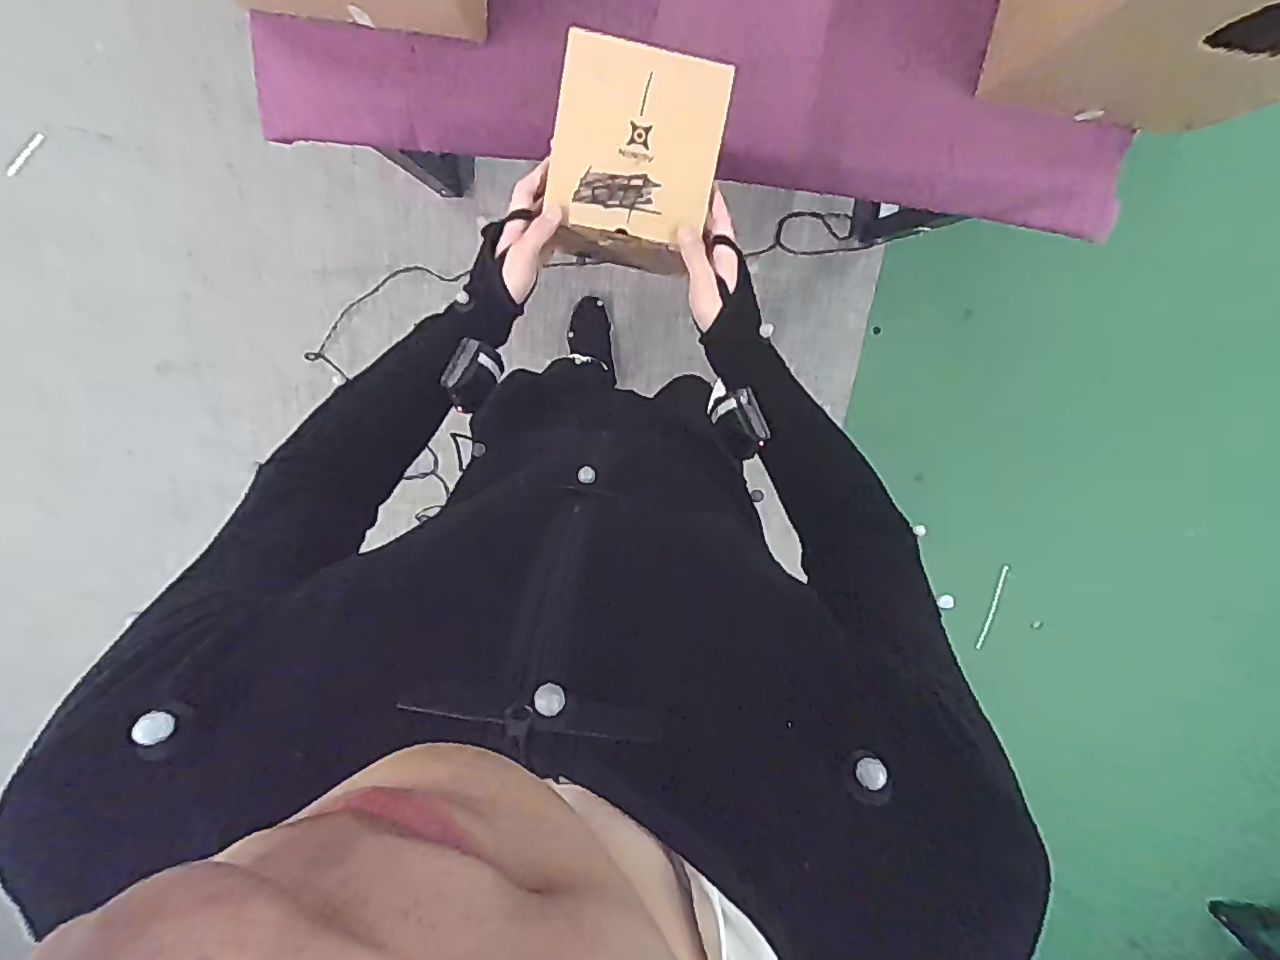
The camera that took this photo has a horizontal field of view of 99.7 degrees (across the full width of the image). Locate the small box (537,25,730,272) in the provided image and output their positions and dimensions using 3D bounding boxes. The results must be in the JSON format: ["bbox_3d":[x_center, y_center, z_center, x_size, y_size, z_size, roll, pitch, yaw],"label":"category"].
[{"bbox_3d":[-0.010,-0.349,0.610,0.168,0.176,0.179,11,101,-4],"label":"small box"}]
